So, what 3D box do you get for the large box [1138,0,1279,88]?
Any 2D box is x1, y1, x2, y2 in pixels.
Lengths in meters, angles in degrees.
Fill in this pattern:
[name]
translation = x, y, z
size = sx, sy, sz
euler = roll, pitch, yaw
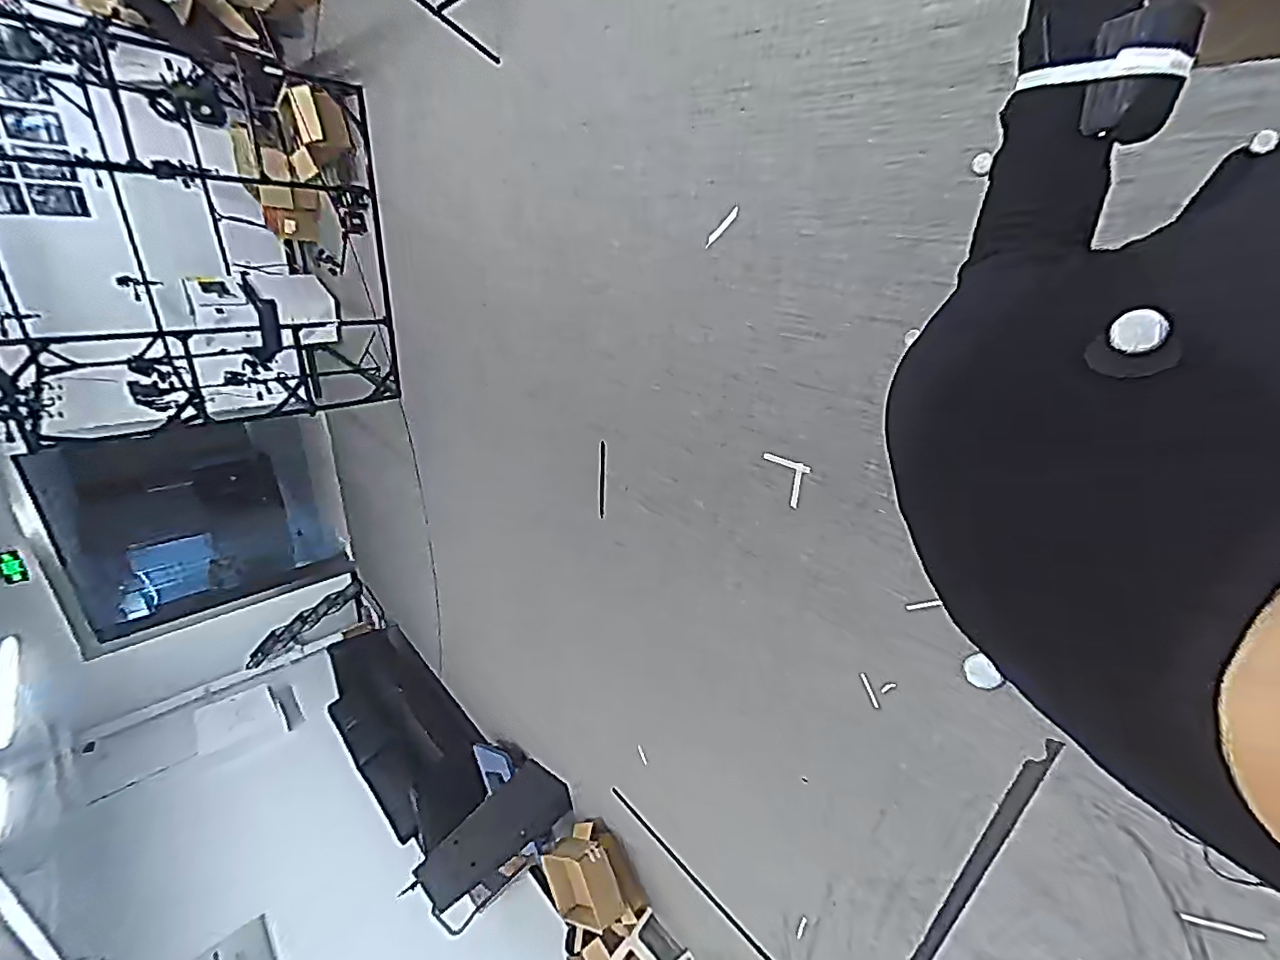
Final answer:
[large box]
translation = 0.546, -0.420, 0.248
size = 0.408, 0.320, 0.320
euler = 21, 124, 38
